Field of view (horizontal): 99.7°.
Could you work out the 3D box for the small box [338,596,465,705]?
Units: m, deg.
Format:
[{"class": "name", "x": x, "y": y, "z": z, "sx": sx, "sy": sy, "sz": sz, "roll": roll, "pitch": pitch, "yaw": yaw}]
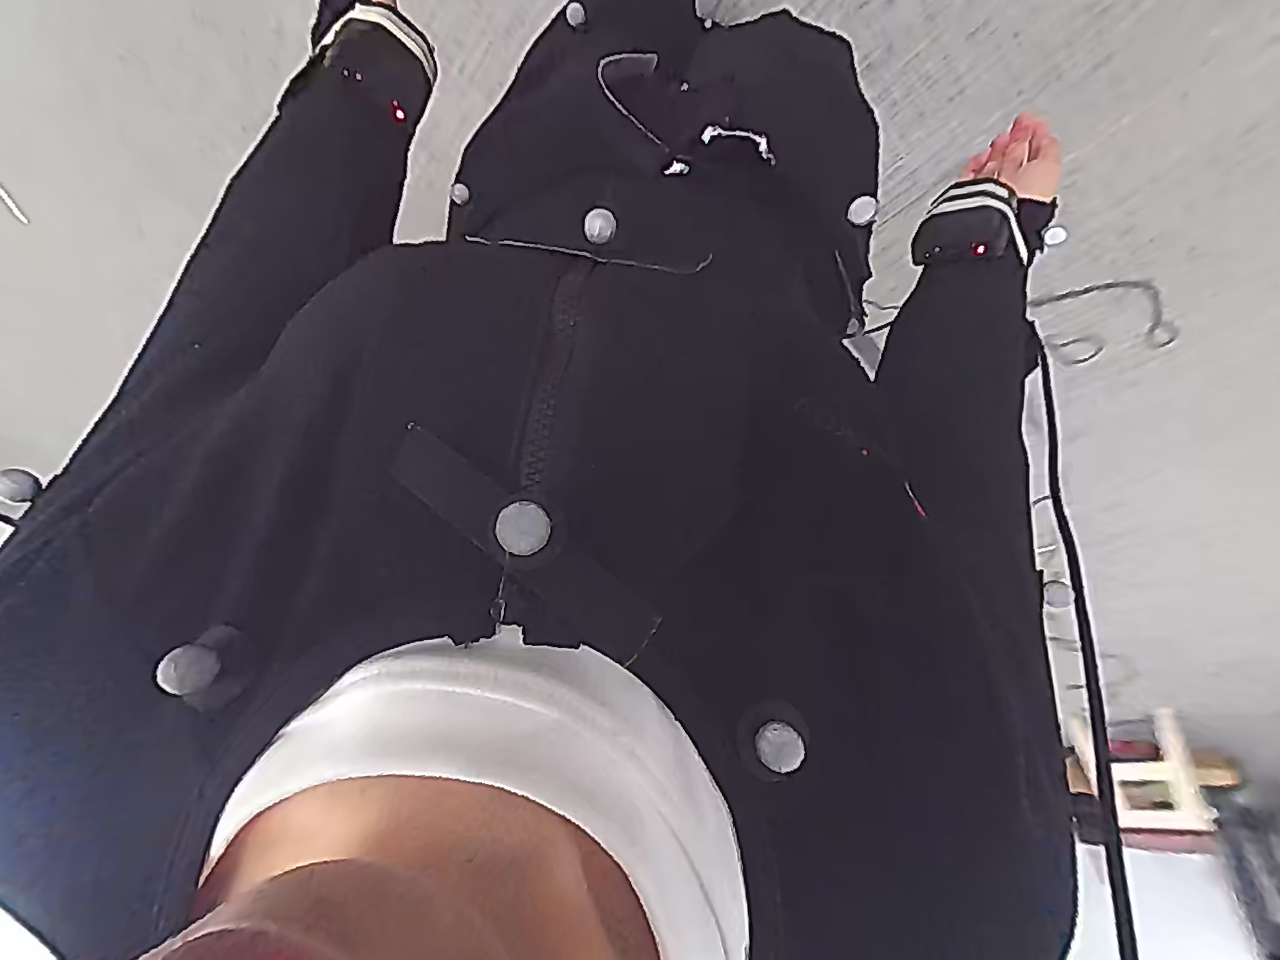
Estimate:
[{"class": "small box", "x": -0.526, "y": 0.375, "z": 1.205, "sx": 0.179, "sy": 0.176, "sz": 0.168, "roll": 35, "pitch": 135, "yaw": -24}]
